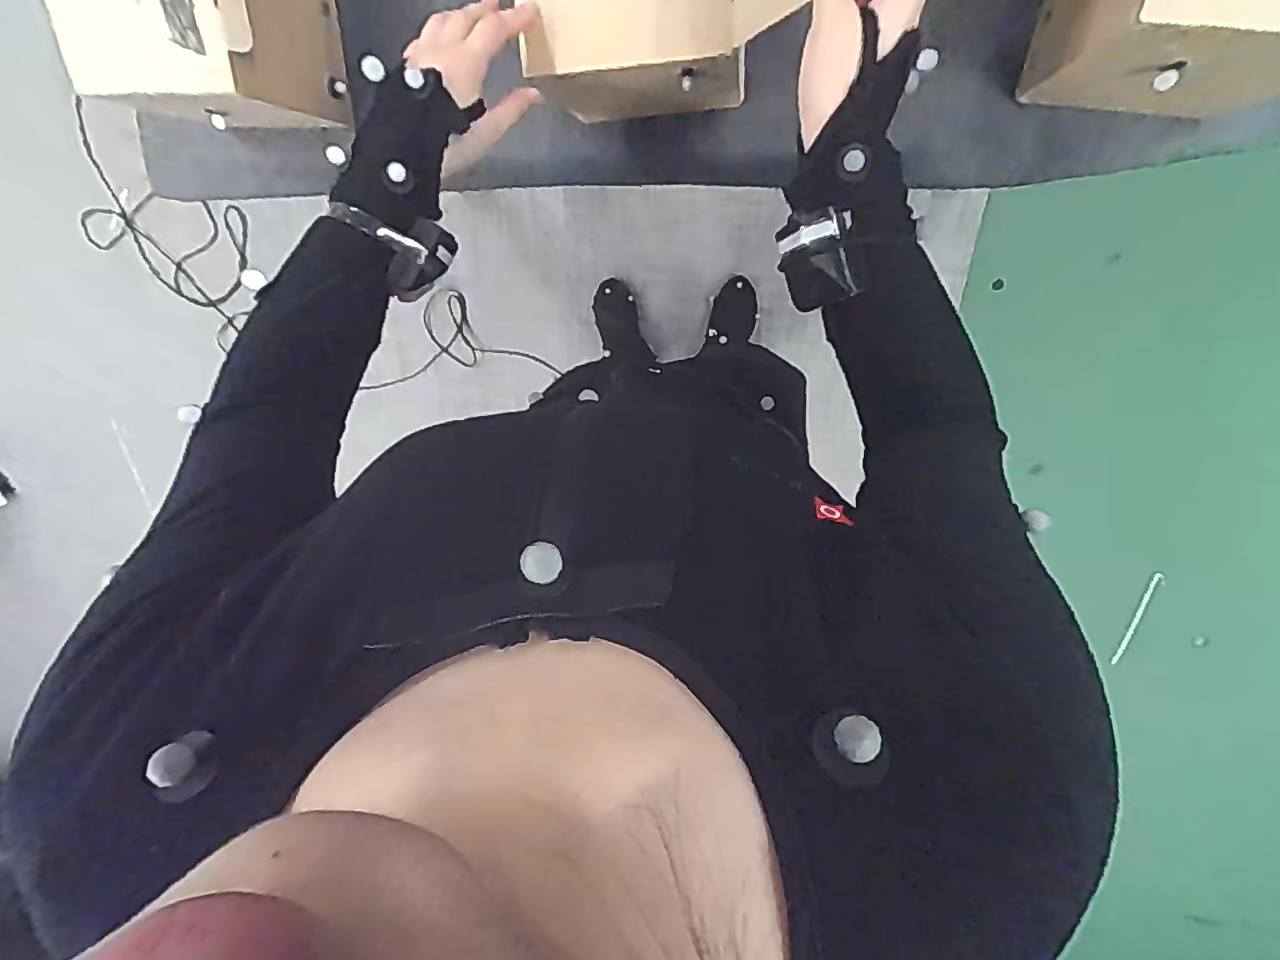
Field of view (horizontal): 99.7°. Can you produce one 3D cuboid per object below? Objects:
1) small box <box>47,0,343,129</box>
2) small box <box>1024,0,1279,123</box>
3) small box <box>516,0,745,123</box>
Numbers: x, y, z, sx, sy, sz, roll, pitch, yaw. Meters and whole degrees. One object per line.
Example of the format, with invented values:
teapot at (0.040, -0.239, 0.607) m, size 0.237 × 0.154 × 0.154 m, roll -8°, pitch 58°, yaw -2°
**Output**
small box at (-0.426, -0.459, 0.534) m, size 0.179 × 0.176 × 0.168 m, roll 6°, pitch 115°, yaw 8°
small box at (0.439, -0.390, 0.406) m, size 0.179 × 0.176 × 0.168 m, roll 10°, pitch 111°, yaw 6°
small box at (0.001, -0.431, 0.473) m, size 0.179 × 0.176 × 0.168 m, roll 1°, pitch 113°, yaw 11°
